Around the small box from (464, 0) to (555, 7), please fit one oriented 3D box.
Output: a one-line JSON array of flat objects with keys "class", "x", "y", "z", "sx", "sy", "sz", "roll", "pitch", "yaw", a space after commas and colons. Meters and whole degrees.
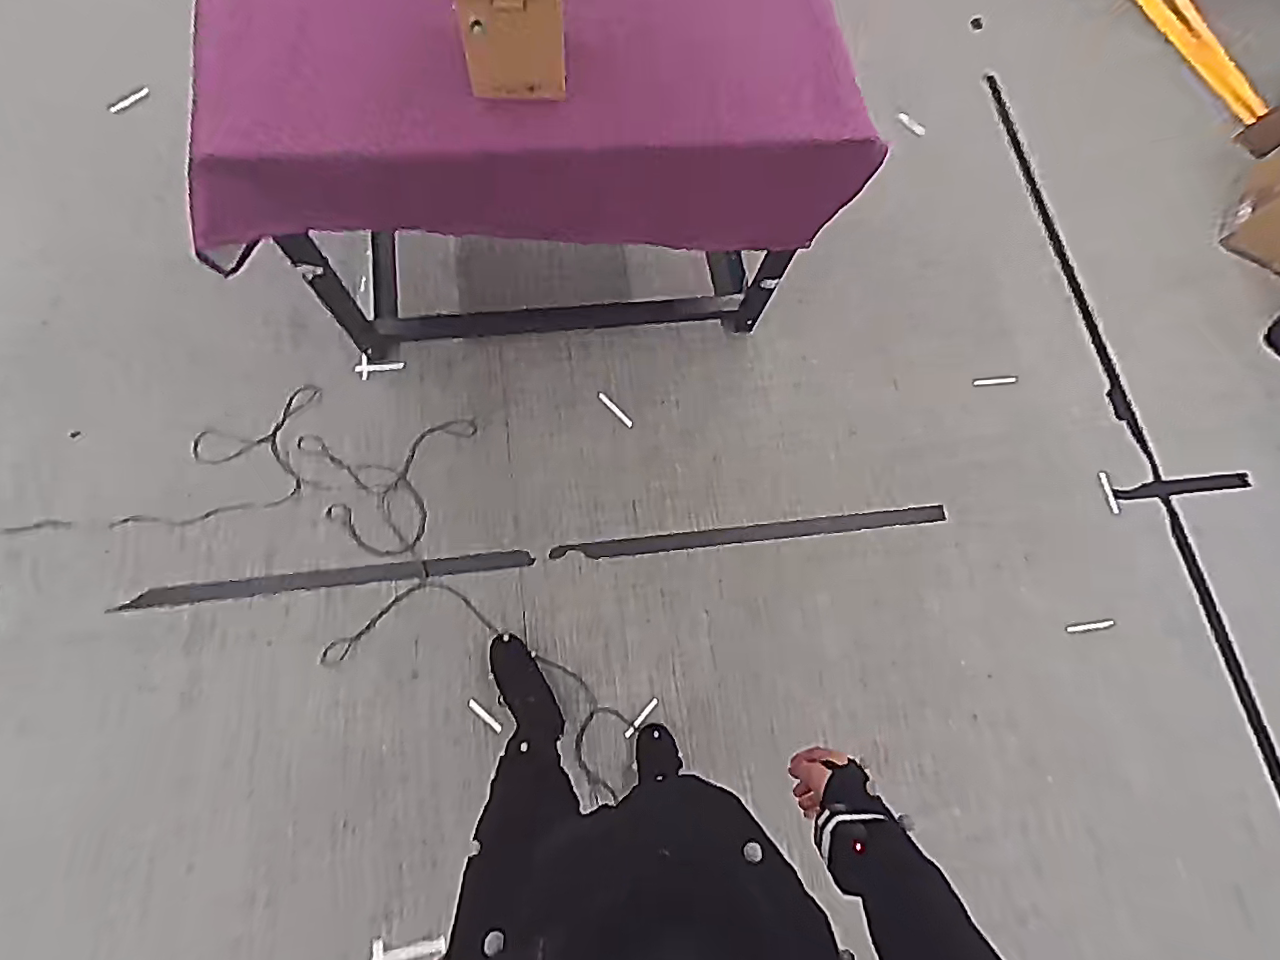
[{"class": "small box", "x": -0.210, "y": -0.827, "z": 0.775, "sx": 0.179, "sy": 0.176, "sz": 0.168, "roll": -4, "pitch": 74, "yaw": -8}]
